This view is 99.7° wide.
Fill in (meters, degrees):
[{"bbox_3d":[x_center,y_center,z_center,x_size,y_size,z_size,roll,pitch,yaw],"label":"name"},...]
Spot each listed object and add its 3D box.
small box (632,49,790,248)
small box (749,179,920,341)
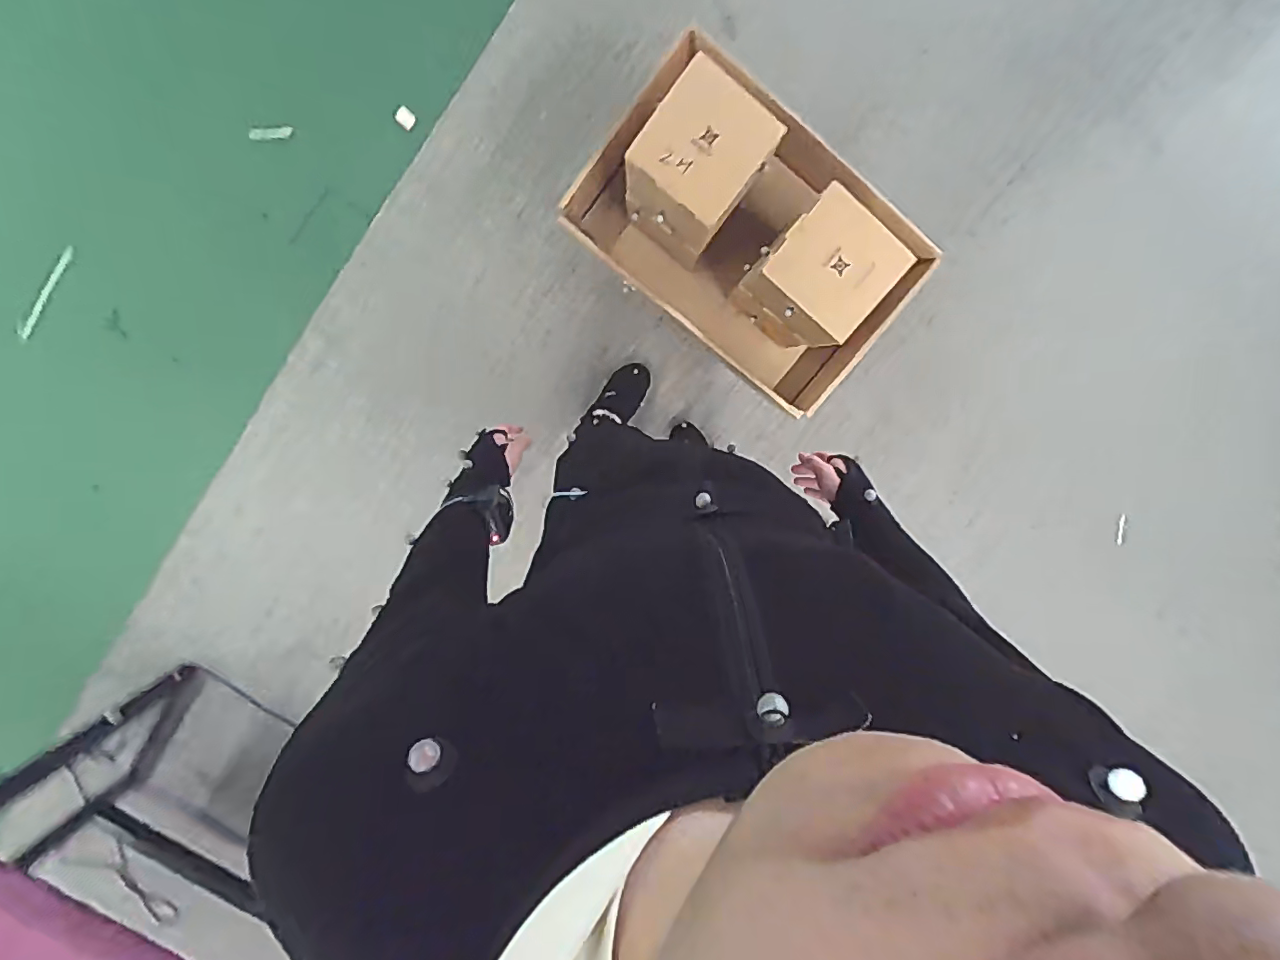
[{"bbox_3d":[0.100,-0.503,0.852,0.168,0.176,0.179,38,99,-7],"label":"small box"},{"bbox_3d":[0.303,-0.342,0.887,0.179,0.176,0.168,40,100,-8],"label":"small box"}]
